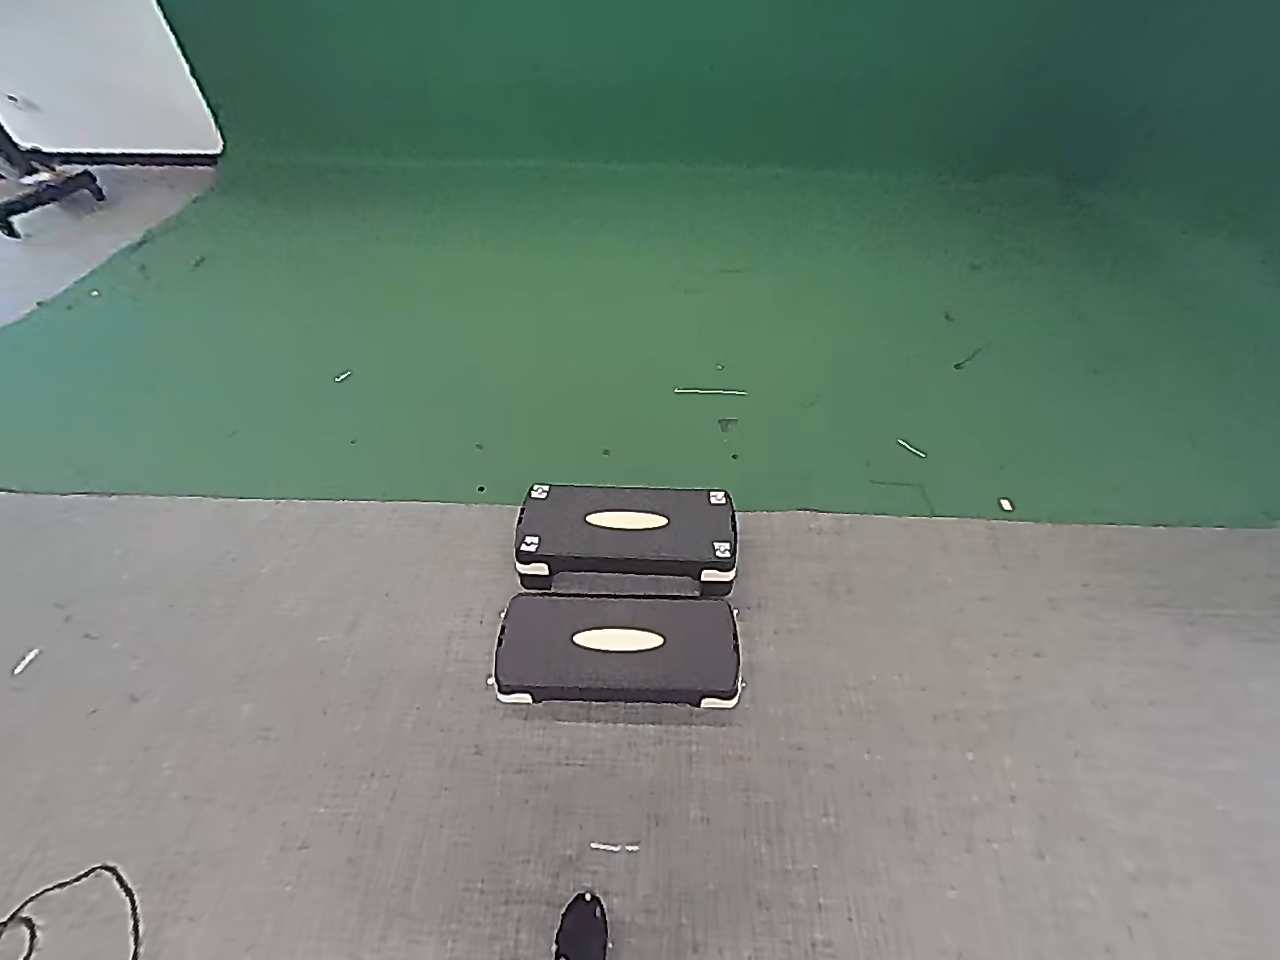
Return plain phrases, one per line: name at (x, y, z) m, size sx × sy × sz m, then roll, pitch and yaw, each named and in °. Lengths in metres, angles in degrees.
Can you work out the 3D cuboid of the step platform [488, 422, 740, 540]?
step platform at (-0.068, 0.006, 1.560) m, size 0.684 × 0.204 × 0.286 m, roll 1°, pitch 50°, yaw 1°
